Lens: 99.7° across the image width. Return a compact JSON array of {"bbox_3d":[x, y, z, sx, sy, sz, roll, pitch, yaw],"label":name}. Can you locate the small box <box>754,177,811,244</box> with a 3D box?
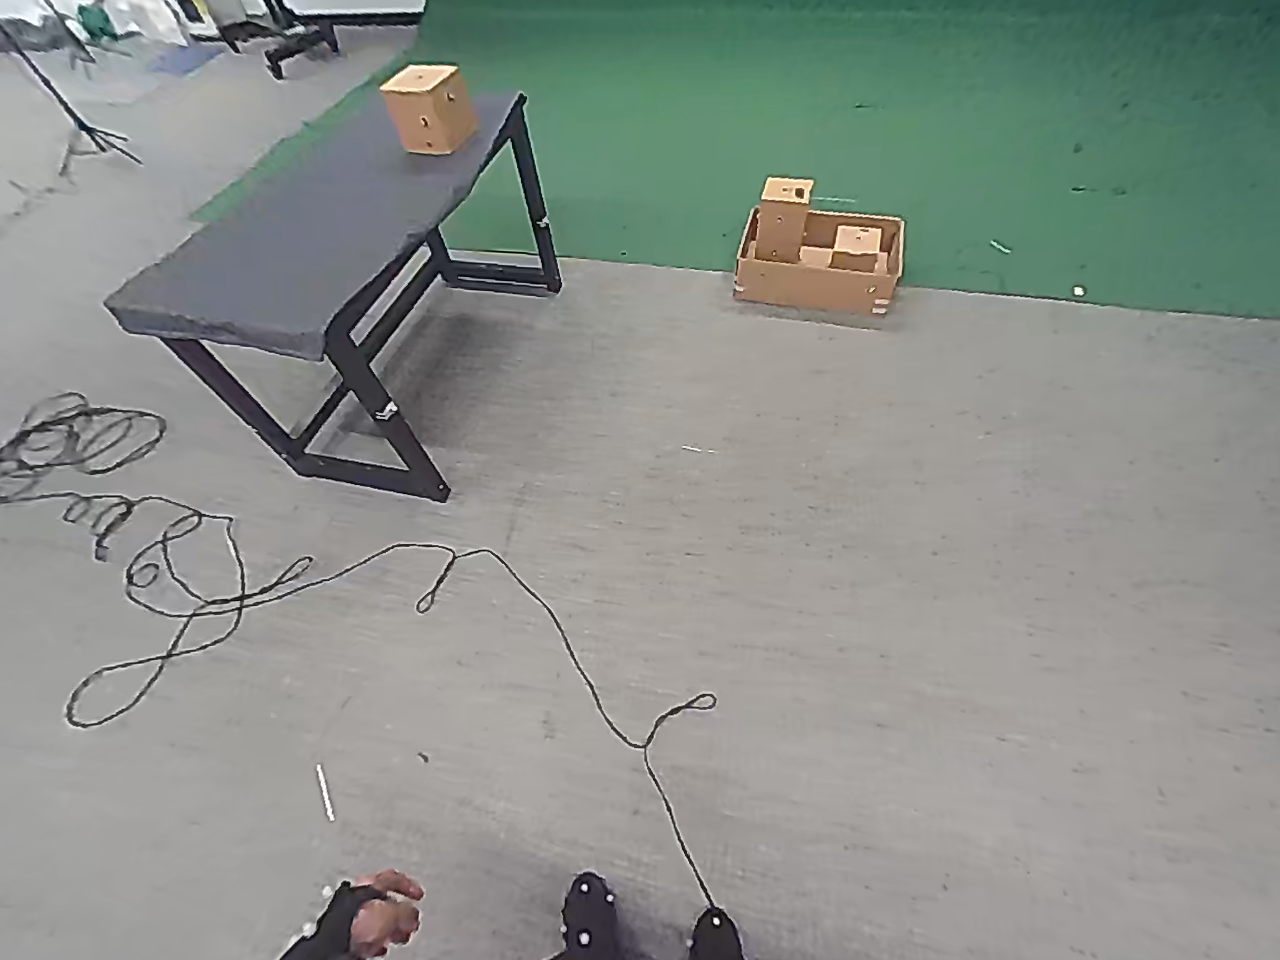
[{"bbox_3d":[0.548,-1.036,2.086,0.179,0.176,0.168,12,57,12],"label":"small box"}]

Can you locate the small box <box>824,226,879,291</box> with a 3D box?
[{"bbox_3d":[0.840,-0.883,2.162,0.168,0.176,0.179,13,59,13],"label":"small box"}]

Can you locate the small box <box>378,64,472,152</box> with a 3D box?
[{"bbox_3d":[-0.620,-1.093,1.591,0.168,0.176,0.179,13,57,13],"label":"small box"}]

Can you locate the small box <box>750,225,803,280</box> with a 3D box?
[{"bbox_3d":[0.559,-0.947,2.224,0.179,0.176,0.168,12,58,11],"label":"small box"}]
